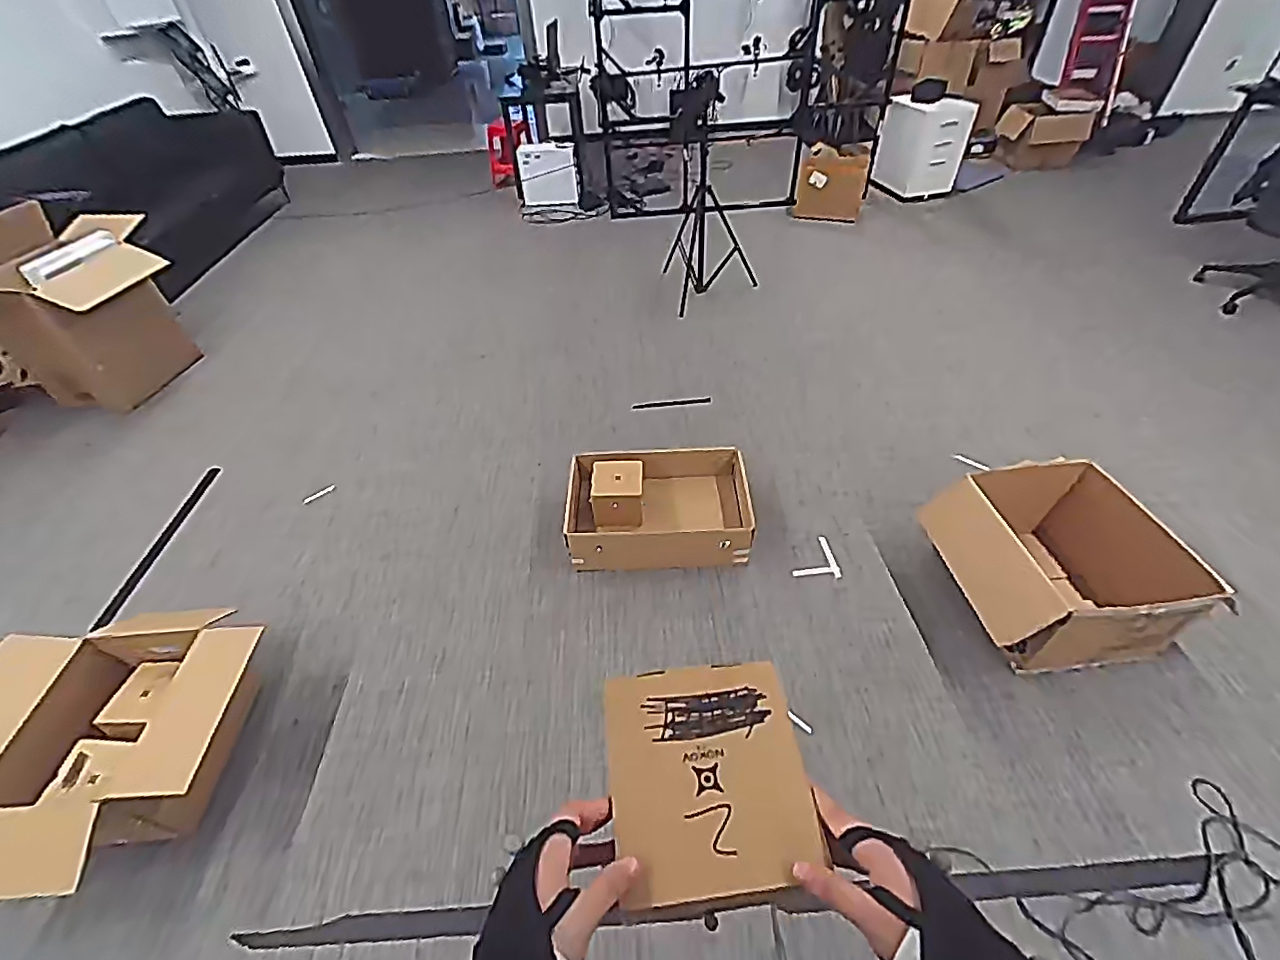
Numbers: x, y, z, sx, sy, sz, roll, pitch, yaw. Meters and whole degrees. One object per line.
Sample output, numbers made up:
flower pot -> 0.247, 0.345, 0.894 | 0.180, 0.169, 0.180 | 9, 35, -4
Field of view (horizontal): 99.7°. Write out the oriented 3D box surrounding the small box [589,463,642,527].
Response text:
small box -> -0.081, 0.056, 1.932 | 0.179, 0.176, 0.168 | -1, 47, 1
